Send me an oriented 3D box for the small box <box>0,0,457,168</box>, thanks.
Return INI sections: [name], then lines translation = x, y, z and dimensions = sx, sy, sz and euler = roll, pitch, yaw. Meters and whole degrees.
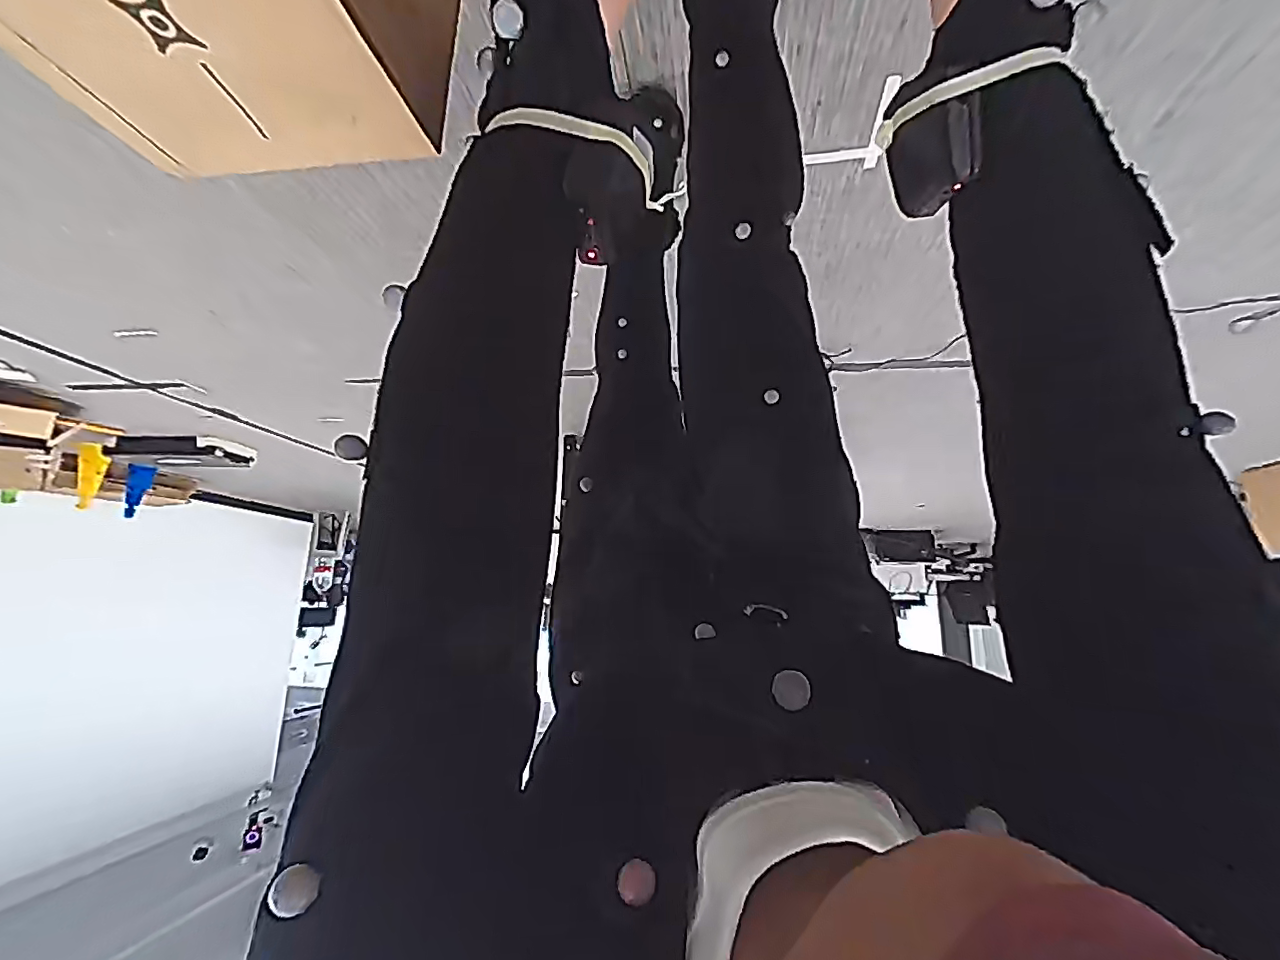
[small box]
translation = -0.193, -0.275, 0.230
dimensions = 0.168, 0.176, 0.179
euler = 0, 167, 7
